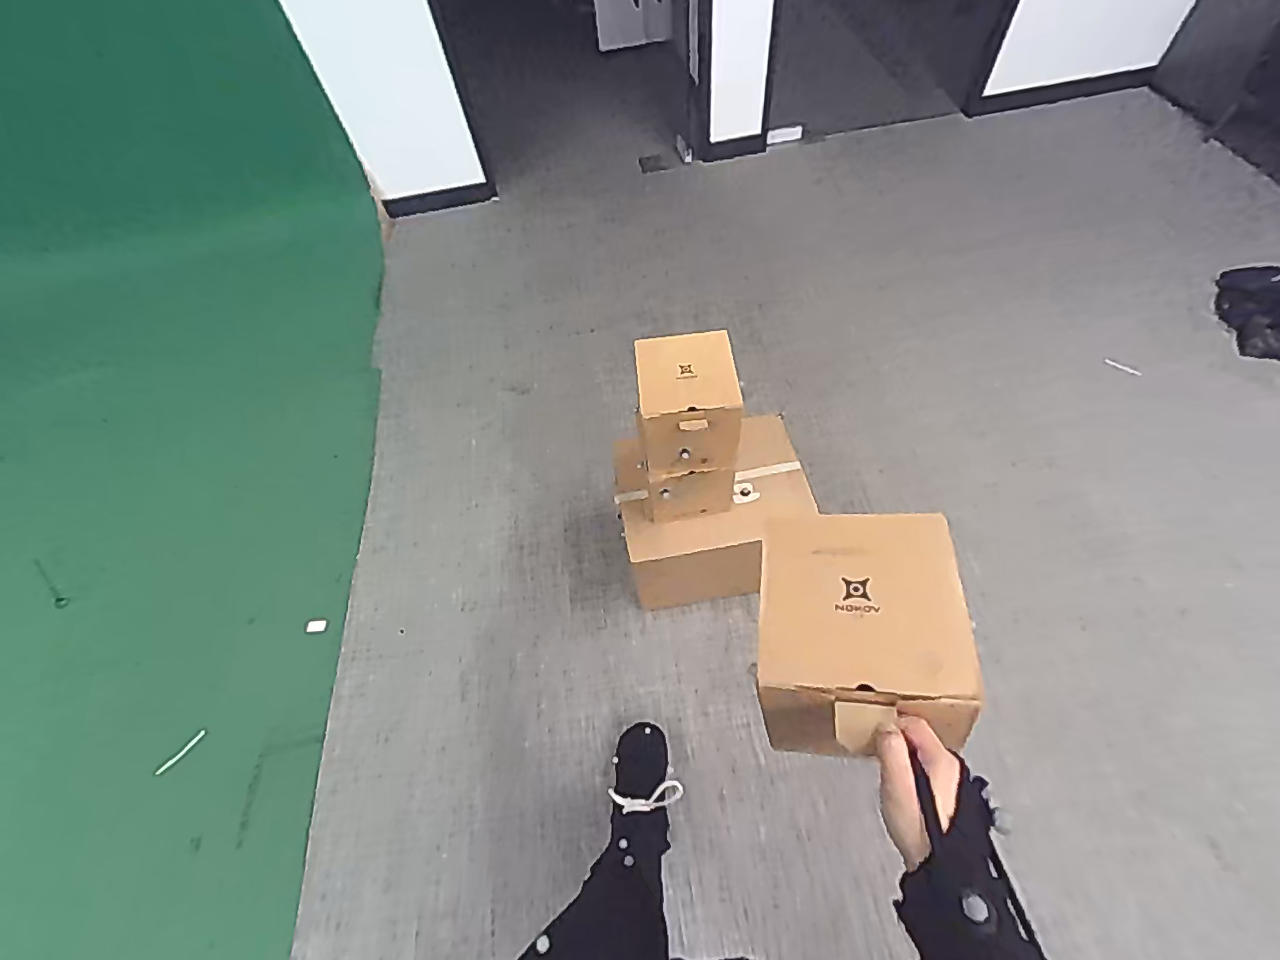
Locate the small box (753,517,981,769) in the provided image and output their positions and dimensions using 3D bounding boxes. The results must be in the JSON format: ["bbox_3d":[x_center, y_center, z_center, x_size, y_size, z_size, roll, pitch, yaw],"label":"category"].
[{"bbox_3d":[0.204,0.156,0.519,0.168,0.176,0.179,-2,46,17],"label":"small box"}]

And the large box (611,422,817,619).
[{"bbox_3d":[0.160,0.106,1.295,0.408,0.320,0.320,-10,58,-2],"label":"large box"}]

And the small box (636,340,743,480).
[{"bbox_3d":[0.082,-0.121,0.964,0.168,0.176,0.179,-6,57,1],"label":"small box"}]
